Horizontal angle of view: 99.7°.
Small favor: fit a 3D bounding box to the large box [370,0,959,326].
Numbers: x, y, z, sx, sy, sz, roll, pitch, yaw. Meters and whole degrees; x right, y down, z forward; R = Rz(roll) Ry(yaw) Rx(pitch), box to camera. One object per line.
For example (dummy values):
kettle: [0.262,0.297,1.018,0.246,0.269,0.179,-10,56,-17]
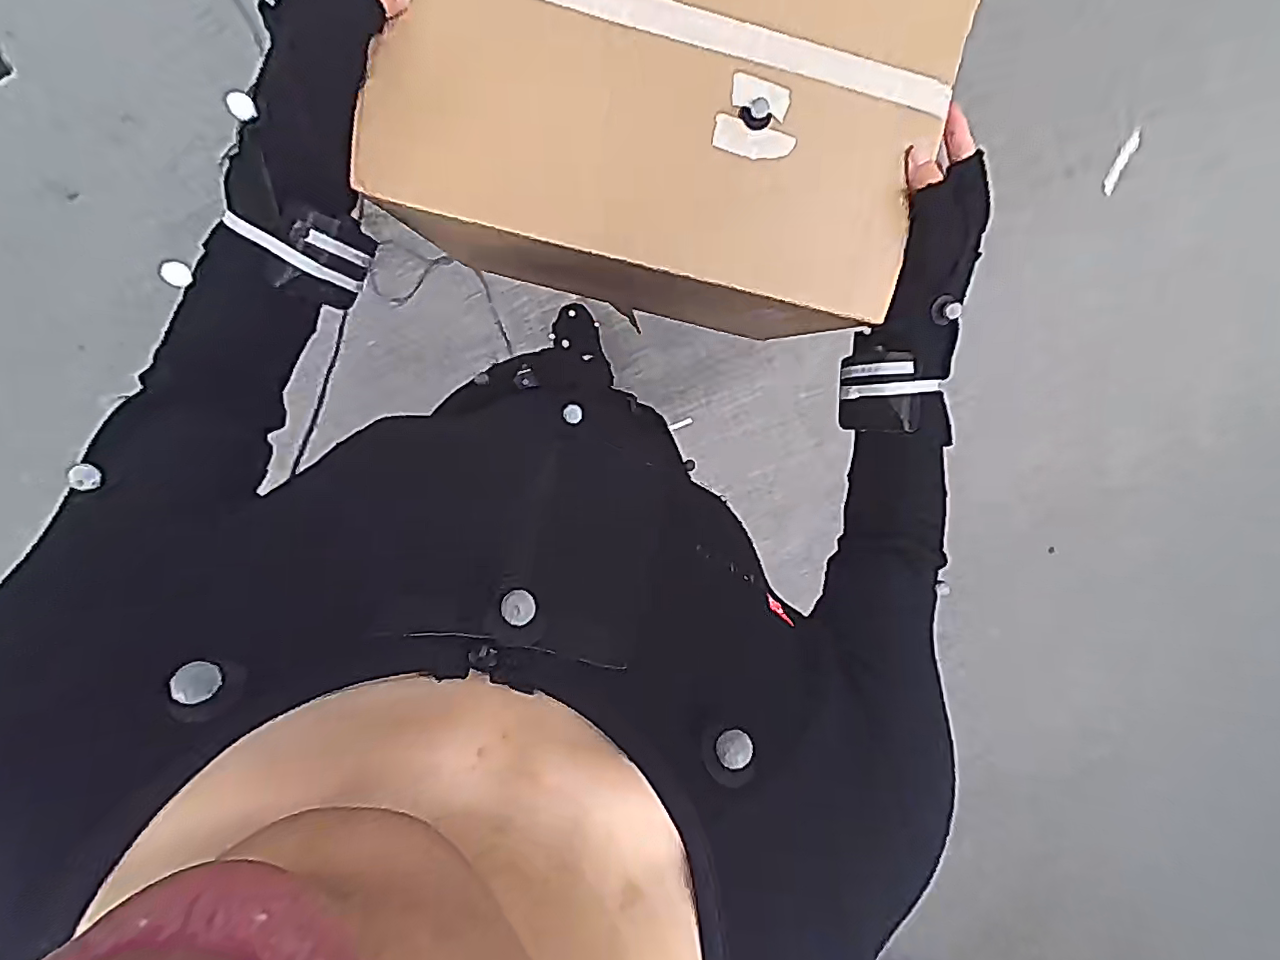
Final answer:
large box: [0.013,-0.355,0.529,0.408,0.320,0.320,11,101,-6]
